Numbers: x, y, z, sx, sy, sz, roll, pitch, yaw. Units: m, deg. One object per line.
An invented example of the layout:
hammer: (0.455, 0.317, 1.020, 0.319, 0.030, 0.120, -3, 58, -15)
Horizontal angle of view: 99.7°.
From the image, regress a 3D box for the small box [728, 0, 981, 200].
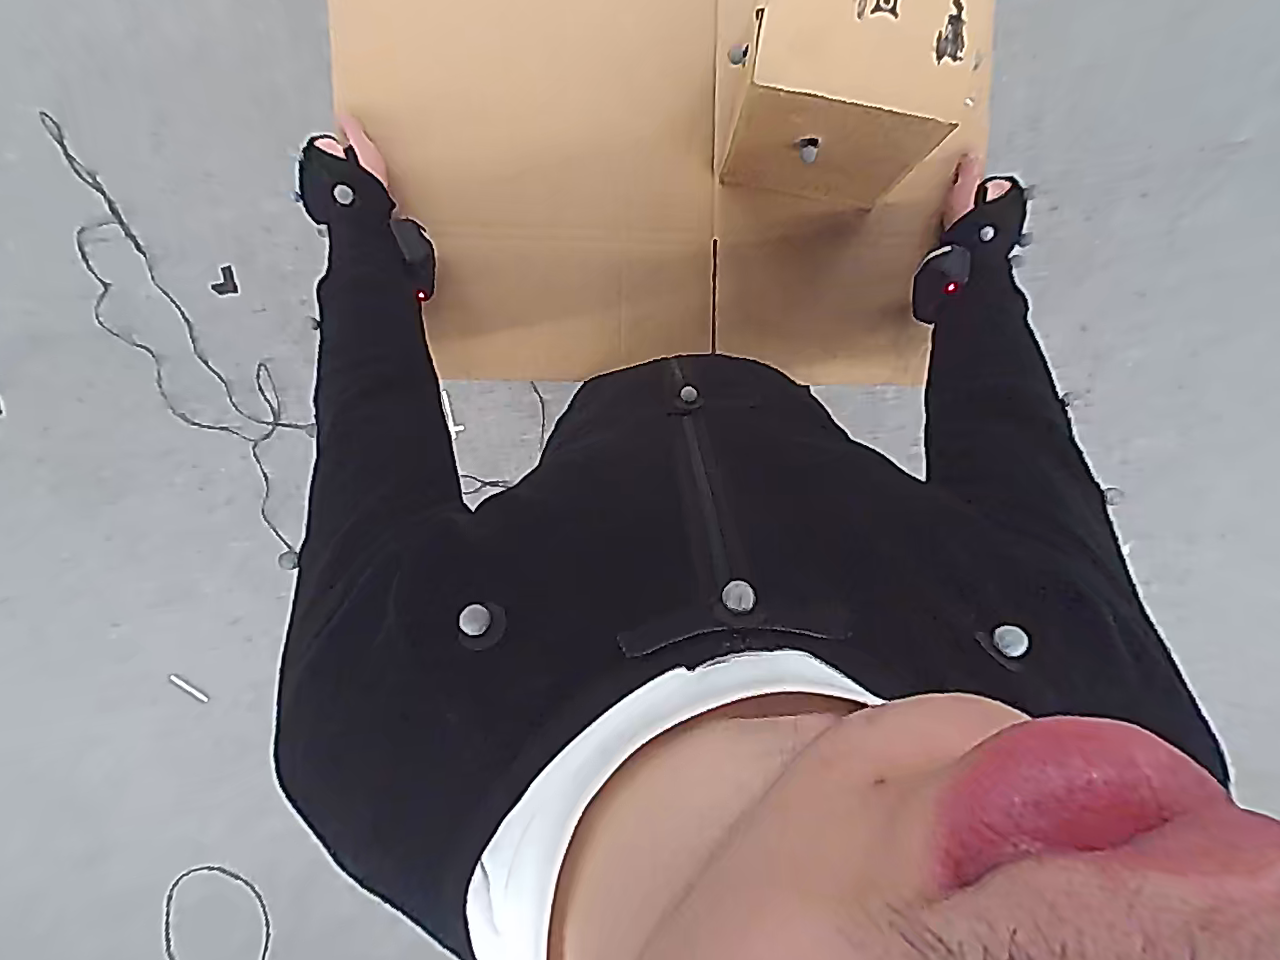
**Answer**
small box: (0.189, -0.394, 0.515, 0.179, 0.176, 0.168, 10, 95, 0)
